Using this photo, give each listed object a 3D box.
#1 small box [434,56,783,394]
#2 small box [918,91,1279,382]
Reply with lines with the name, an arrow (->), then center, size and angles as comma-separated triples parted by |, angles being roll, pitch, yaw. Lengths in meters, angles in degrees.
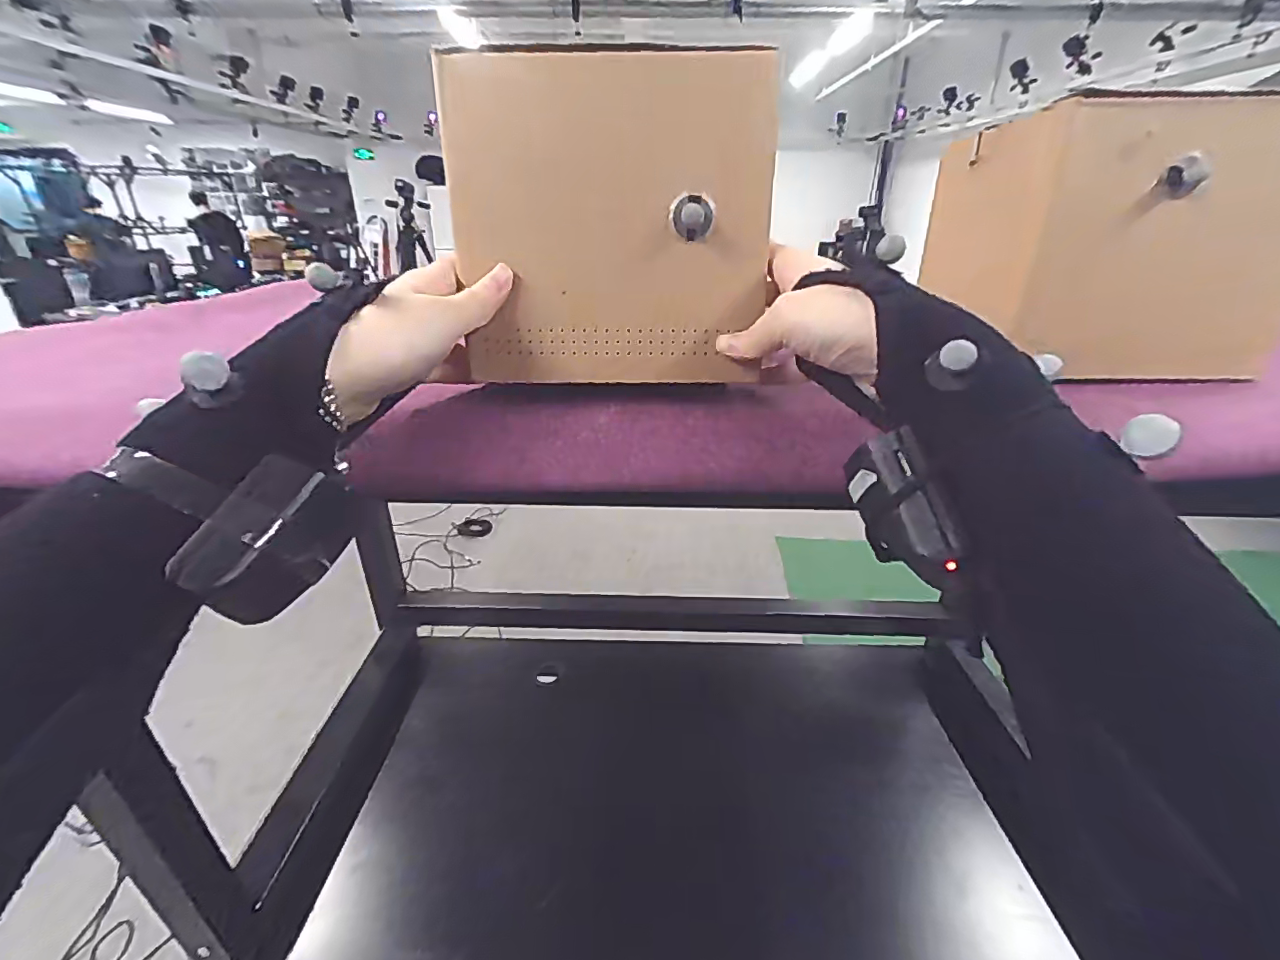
small box -> -0.015, -0.157, 0.369 | 0.179, 0.176, 0.168 | -1, 21, 0
small box -> 0.336, -0.174, 0.413 | 0.179, 0.176, 0.168 | 1, 25, 2
